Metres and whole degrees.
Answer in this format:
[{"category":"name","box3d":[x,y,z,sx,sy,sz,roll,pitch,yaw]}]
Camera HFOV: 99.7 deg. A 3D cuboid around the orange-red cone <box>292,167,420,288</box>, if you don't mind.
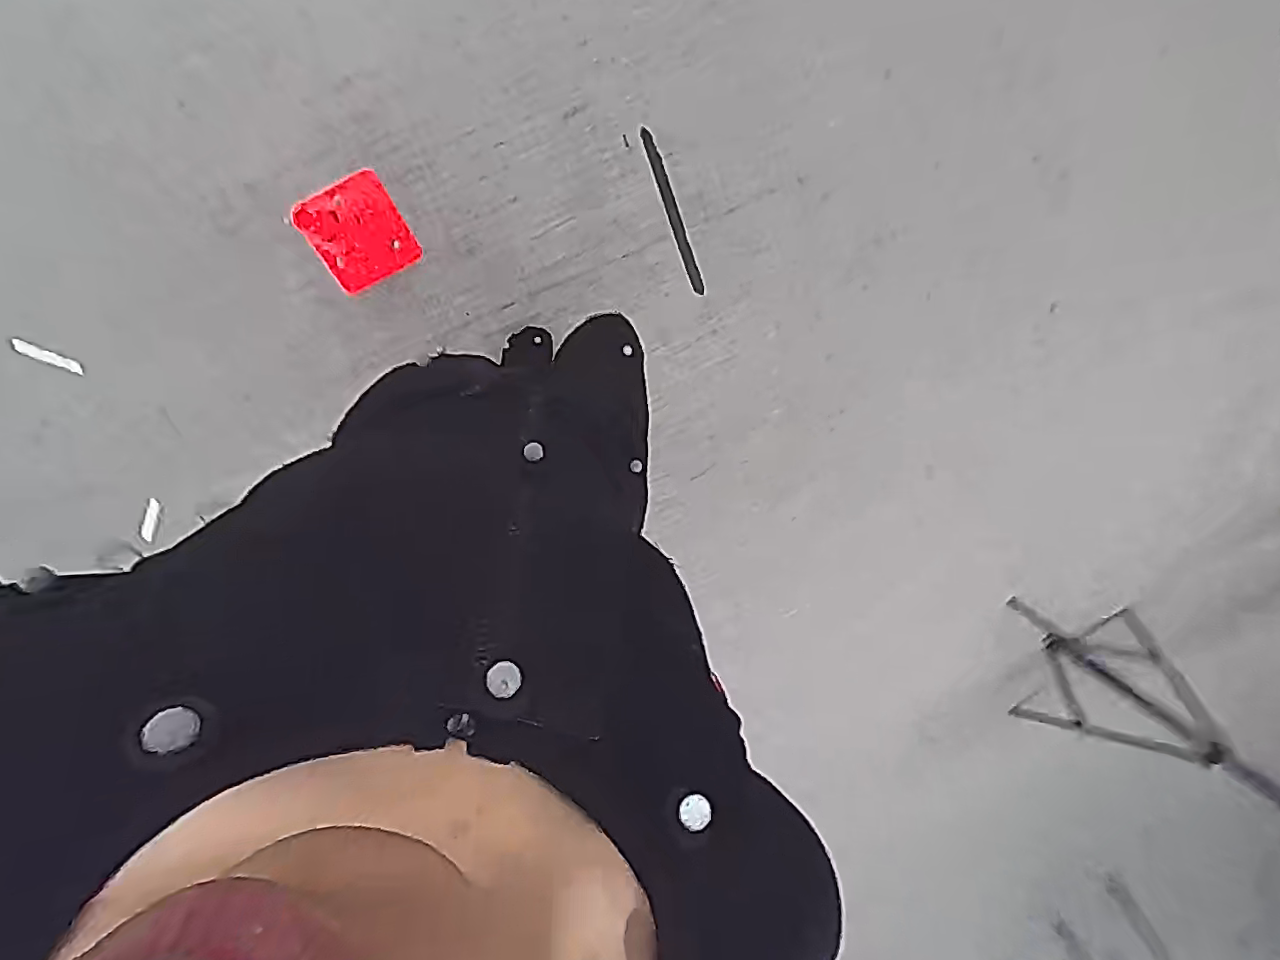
[{"category":"orange-red cone","box3d":[-0.572,-0.488,1.017,0.198,0.360,0.199,-28,113,-3]}]
